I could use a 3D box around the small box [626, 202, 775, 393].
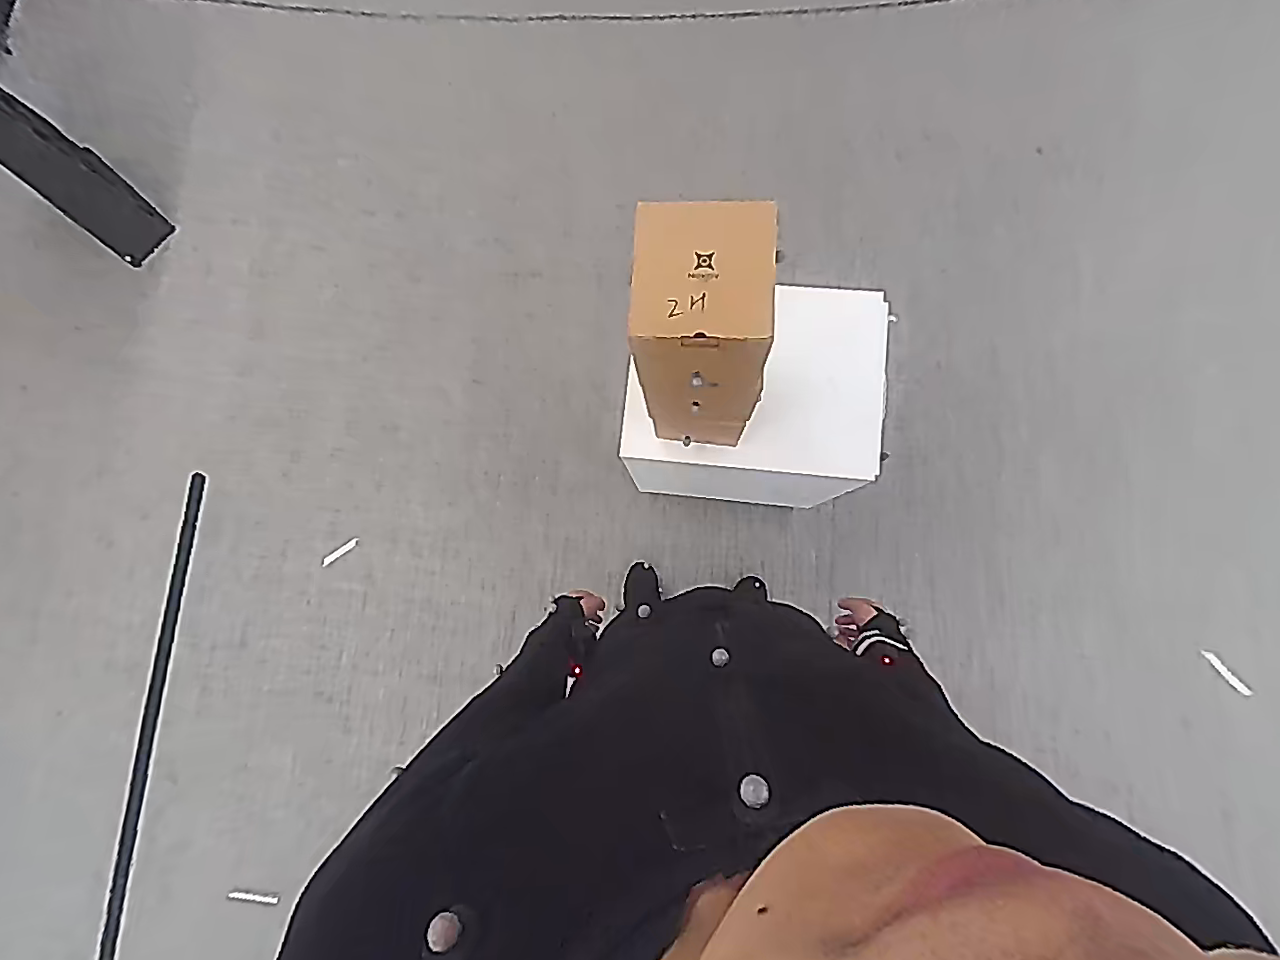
[{"bbox_3d":[0.077,-0.227,0.700,0.168,0.176,0.179,3,80,6],"label":"small box"}]

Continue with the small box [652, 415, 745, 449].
[{"bbox_3d":[0.112,-0.169,1.021,0.168,0.176,0.179,6,81,5],"label":"small box"}]

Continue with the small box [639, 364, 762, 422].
[{"bbox_3d":[0.095,-0.194,0.860,0.179,0.176,0.168,2,80,6],"label":"small box"}]
